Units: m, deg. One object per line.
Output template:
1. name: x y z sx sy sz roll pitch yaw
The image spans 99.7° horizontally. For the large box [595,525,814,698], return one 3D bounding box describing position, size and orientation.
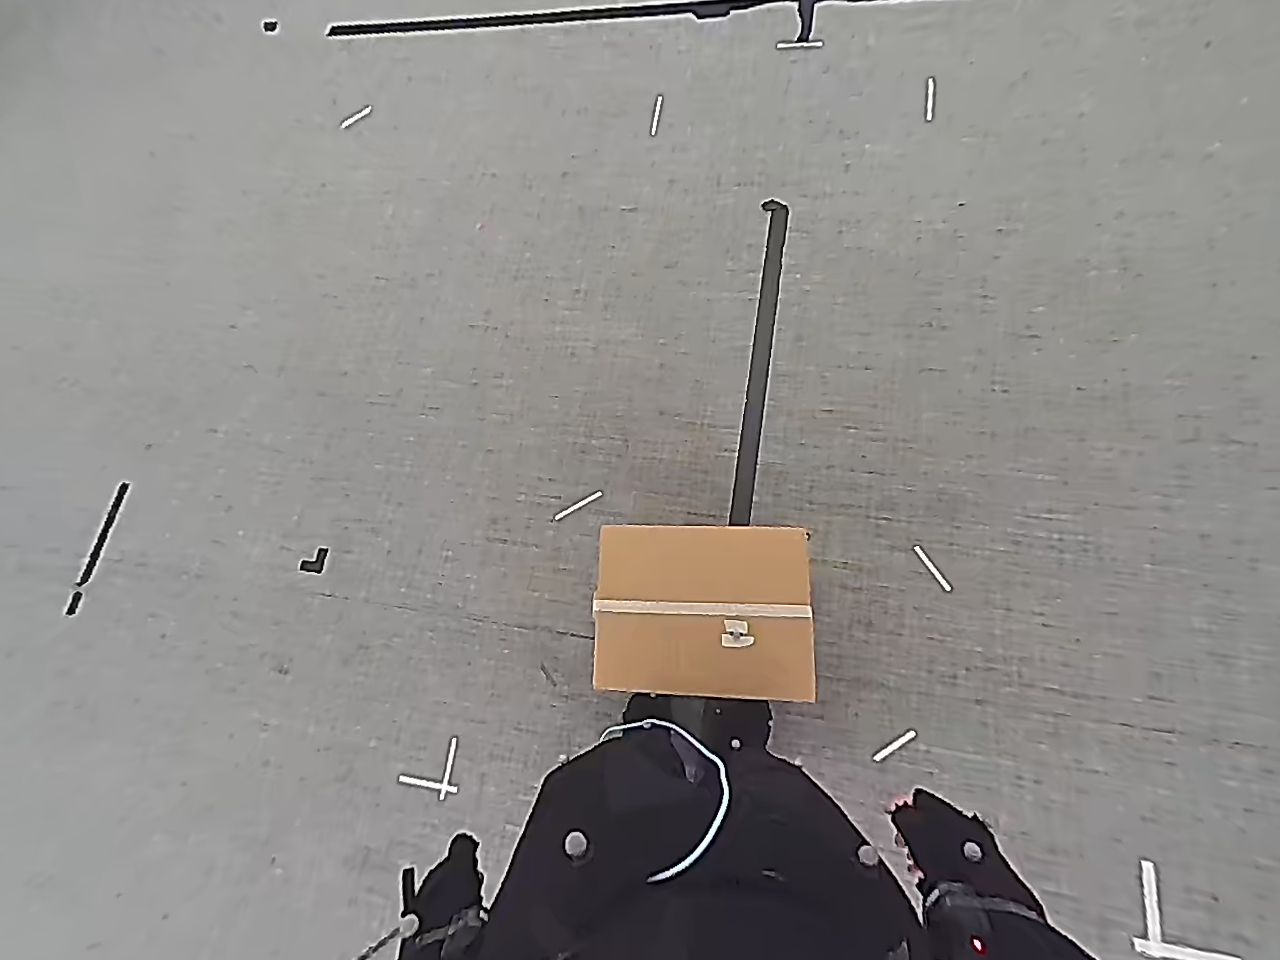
1. large box: 0.133 0.277 1.158 0.408 0.320 0.320 0 76 8
